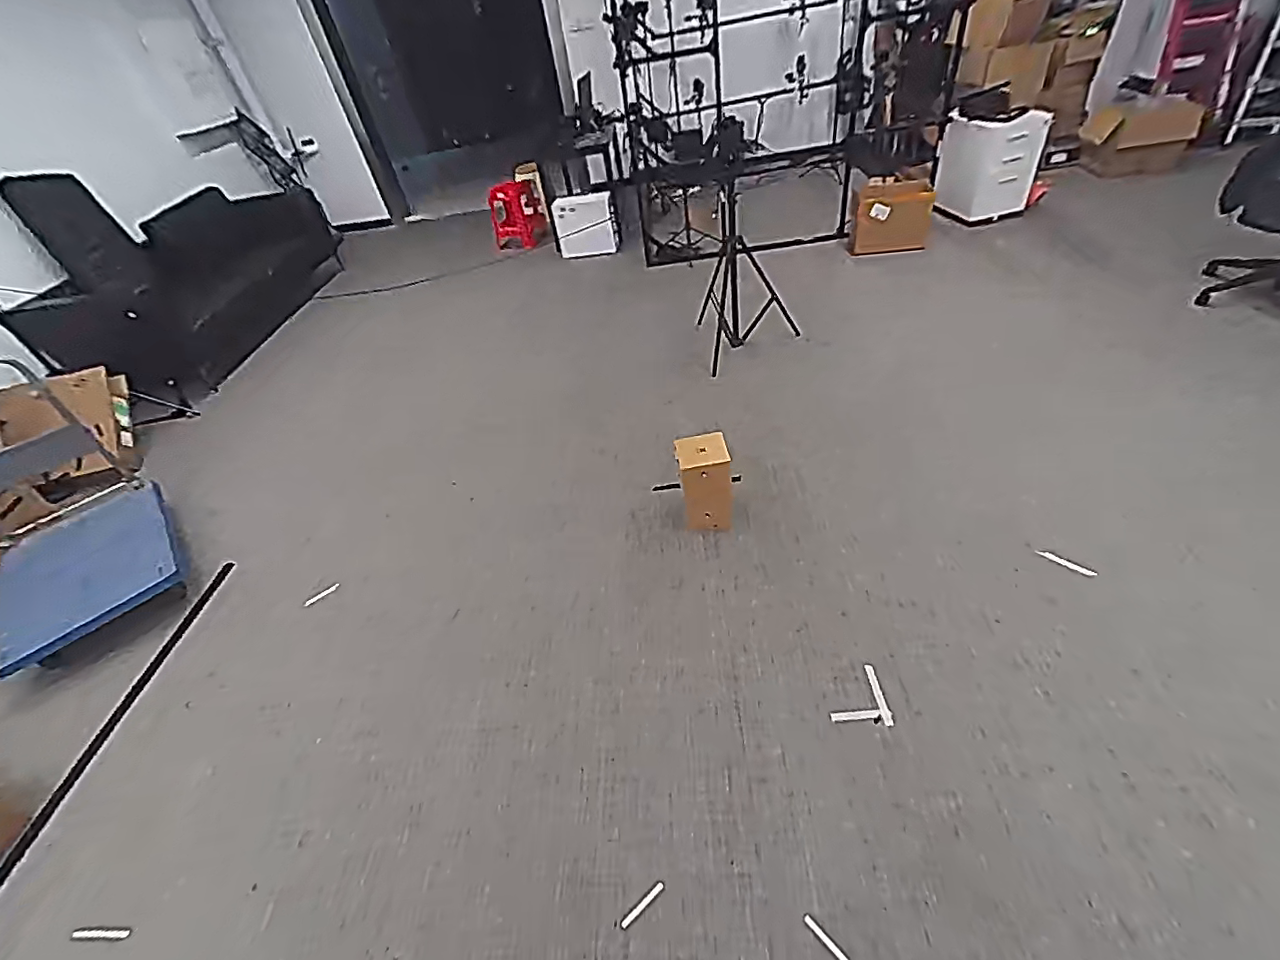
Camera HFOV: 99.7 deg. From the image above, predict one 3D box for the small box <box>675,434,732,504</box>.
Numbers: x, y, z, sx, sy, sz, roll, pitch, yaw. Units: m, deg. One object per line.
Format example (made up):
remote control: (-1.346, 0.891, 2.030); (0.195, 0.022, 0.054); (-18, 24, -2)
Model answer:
small box: (0.228, -0.037, 1.929); (0.179, 0.176, 0.168); (-11, 42, 3)

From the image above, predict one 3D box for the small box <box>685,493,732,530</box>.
small box: (0.259, 0.076, 2.043); (0.168, 0.176, 0.179); (-4, 41, 8)
